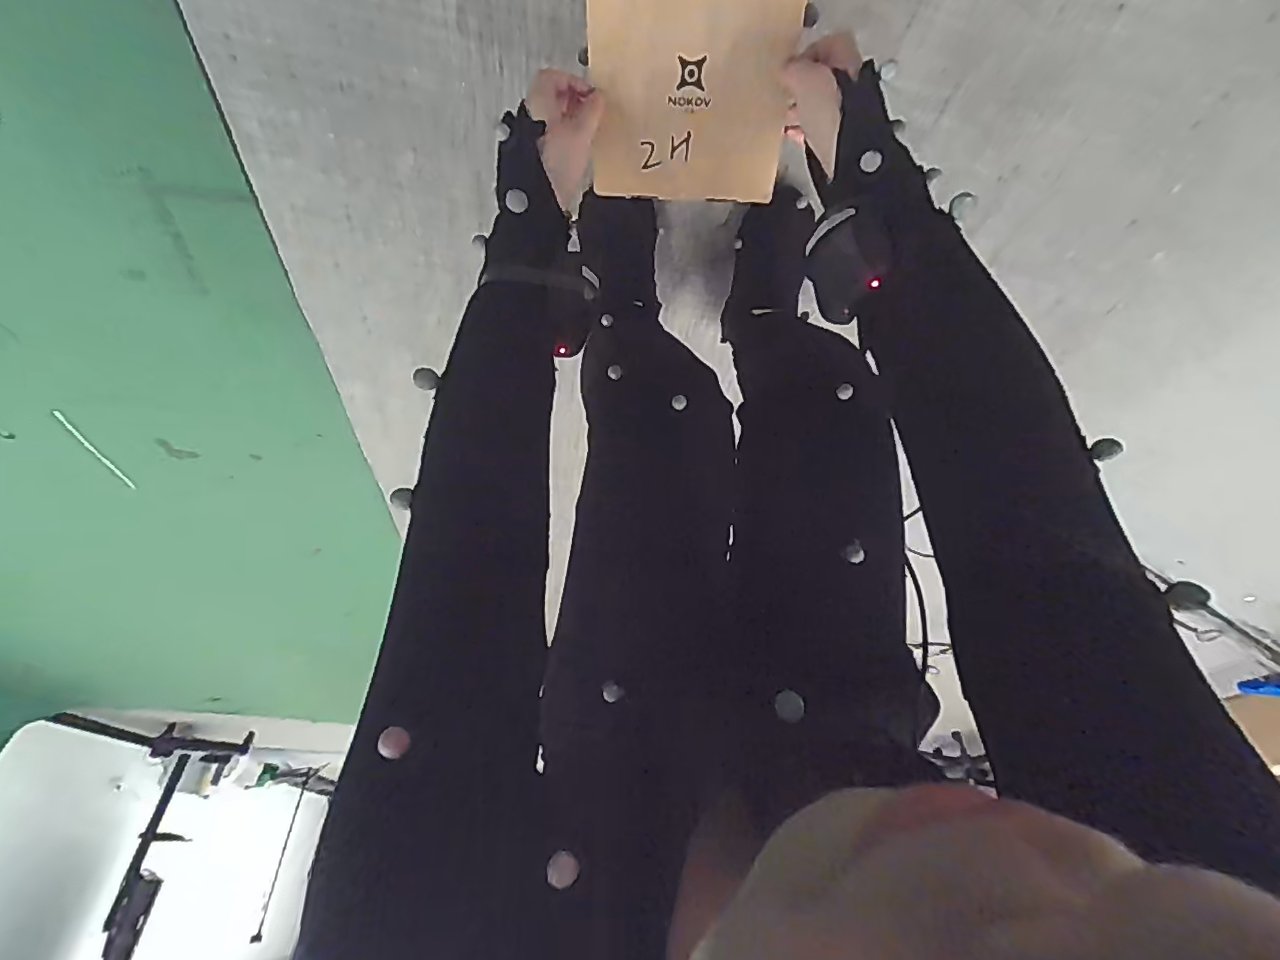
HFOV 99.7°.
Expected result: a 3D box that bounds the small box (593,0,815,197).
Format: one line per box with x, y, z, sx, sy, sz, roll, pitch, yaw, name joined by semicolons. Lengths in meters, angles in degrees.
0.051;-0.377;0.483;0.168;0.176;0.179;5;136;3;small box
